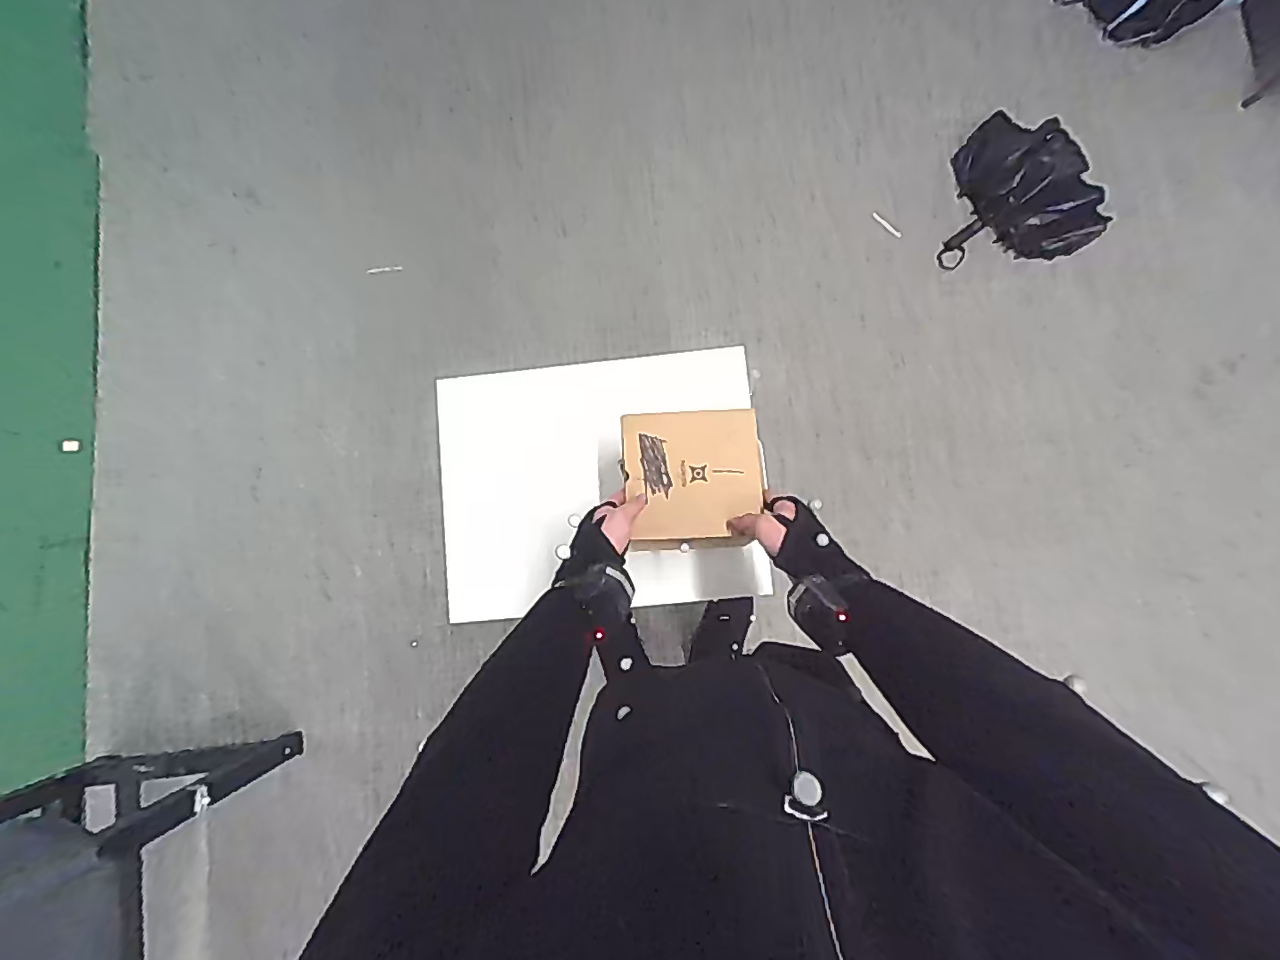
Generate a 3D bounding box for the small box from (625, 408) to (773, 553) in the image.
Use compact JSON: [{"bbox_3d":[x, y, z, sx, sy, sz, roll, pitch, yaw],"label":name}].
[{"bbox_3d":[0.070,0.009,0.740,0.179,0.176,0.168,-1,76,-2],"label":"small box"}]
